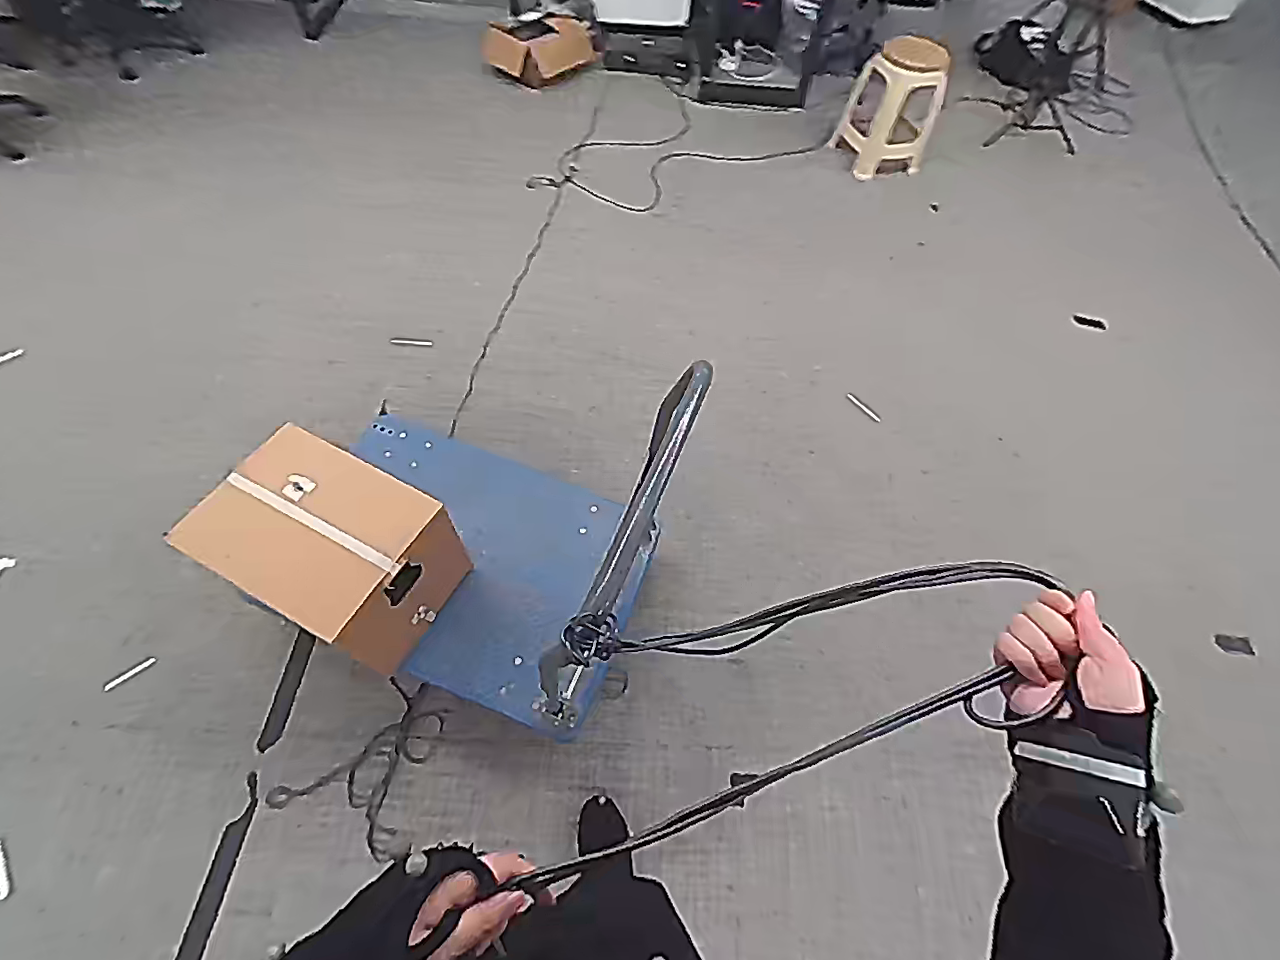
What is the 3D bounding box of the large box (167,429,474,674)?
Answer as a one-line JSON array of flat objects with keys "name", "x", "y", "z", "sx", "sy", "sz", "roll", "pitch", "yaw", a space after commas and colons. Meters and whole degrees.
[{"name": "large box", "x": -0.635, "y": 0.161, "z": 1.157, "sx": 0.408, "sy": 0.320, "sz": 0.320, "roll": 25, "pitch": 60, "yaw": 11}]
